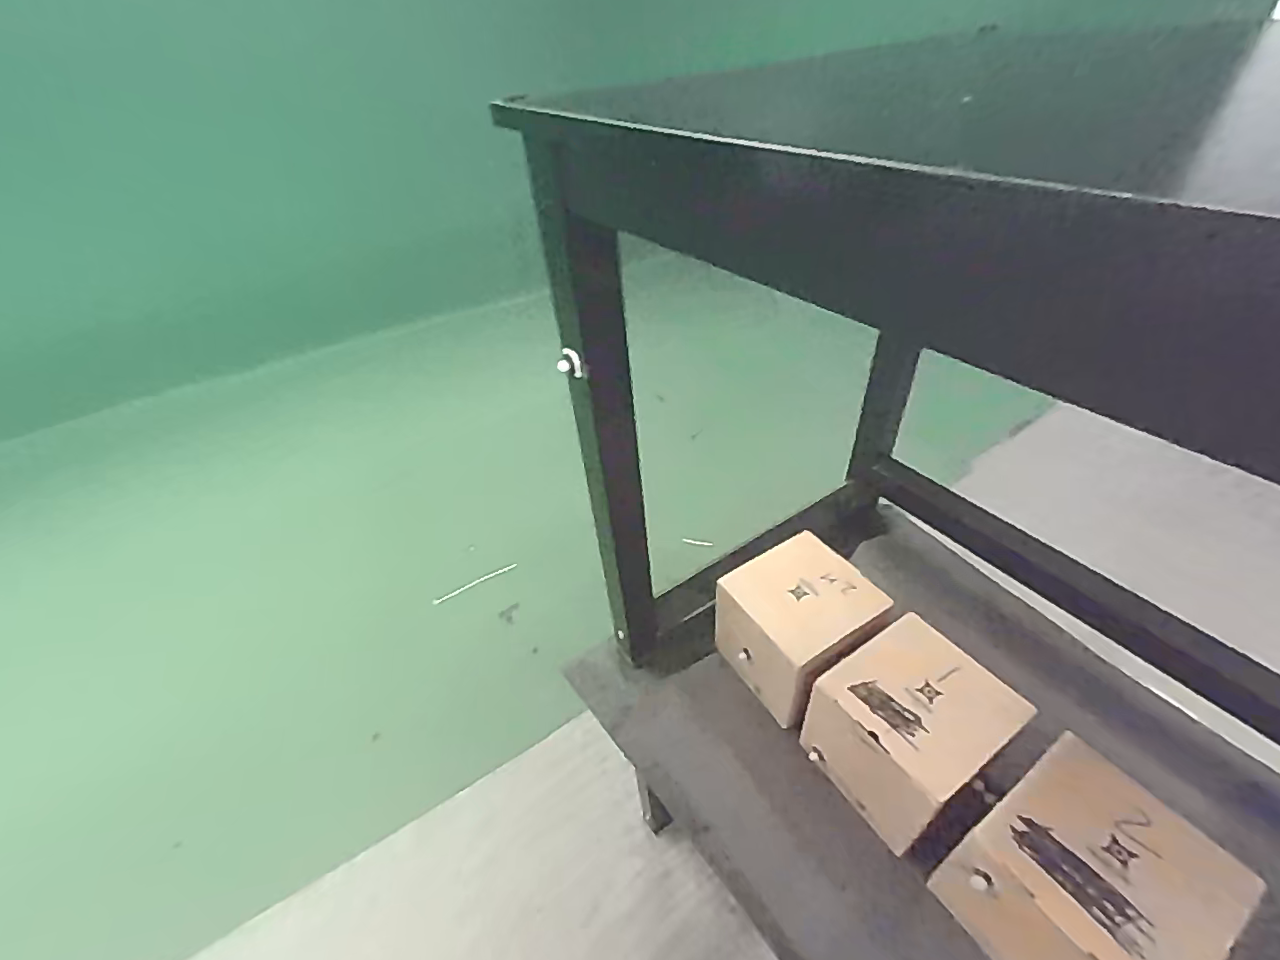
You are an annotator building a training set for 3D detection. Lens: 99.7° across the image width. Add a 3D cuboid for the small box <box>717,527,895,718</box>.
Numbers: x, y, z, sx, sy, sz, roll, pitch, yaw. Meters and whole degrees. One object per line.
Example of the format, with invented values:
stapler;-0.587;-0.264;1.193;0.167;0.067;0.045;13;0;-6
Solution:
small box;0.229;0.207;0.784;0.179;0.176;0.168;-23;45;-20
